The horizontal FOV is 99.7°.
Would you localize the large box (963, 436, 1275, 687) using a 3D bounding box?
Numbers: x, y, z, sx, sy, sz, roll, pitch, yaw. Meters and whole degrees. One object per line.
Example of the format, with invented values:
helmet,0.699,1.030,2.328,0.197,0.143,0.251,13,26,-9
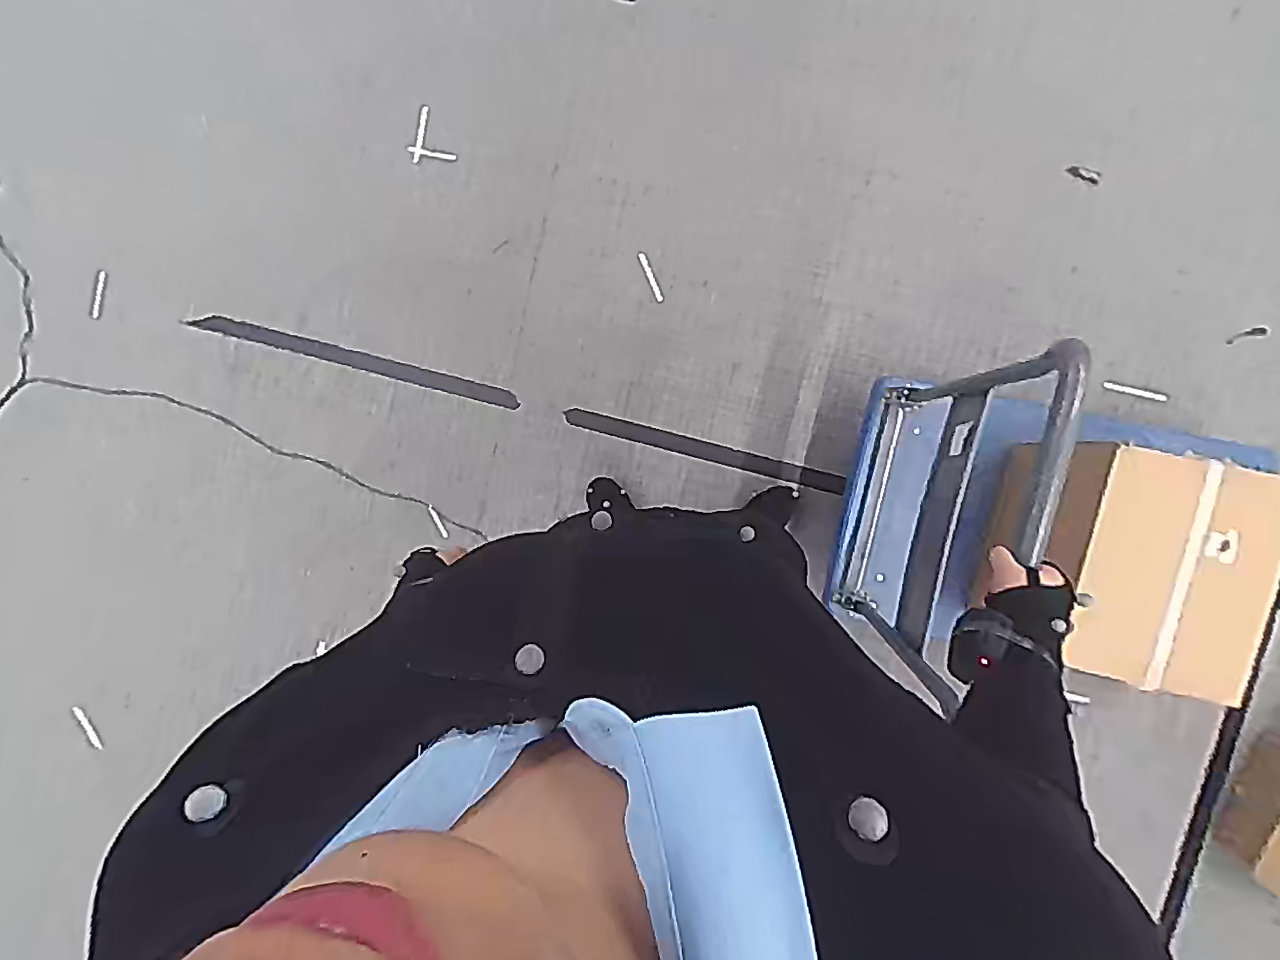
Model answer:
large box,0.929,0.143,1.107,0.320,0.320,0.408,13,93,3
